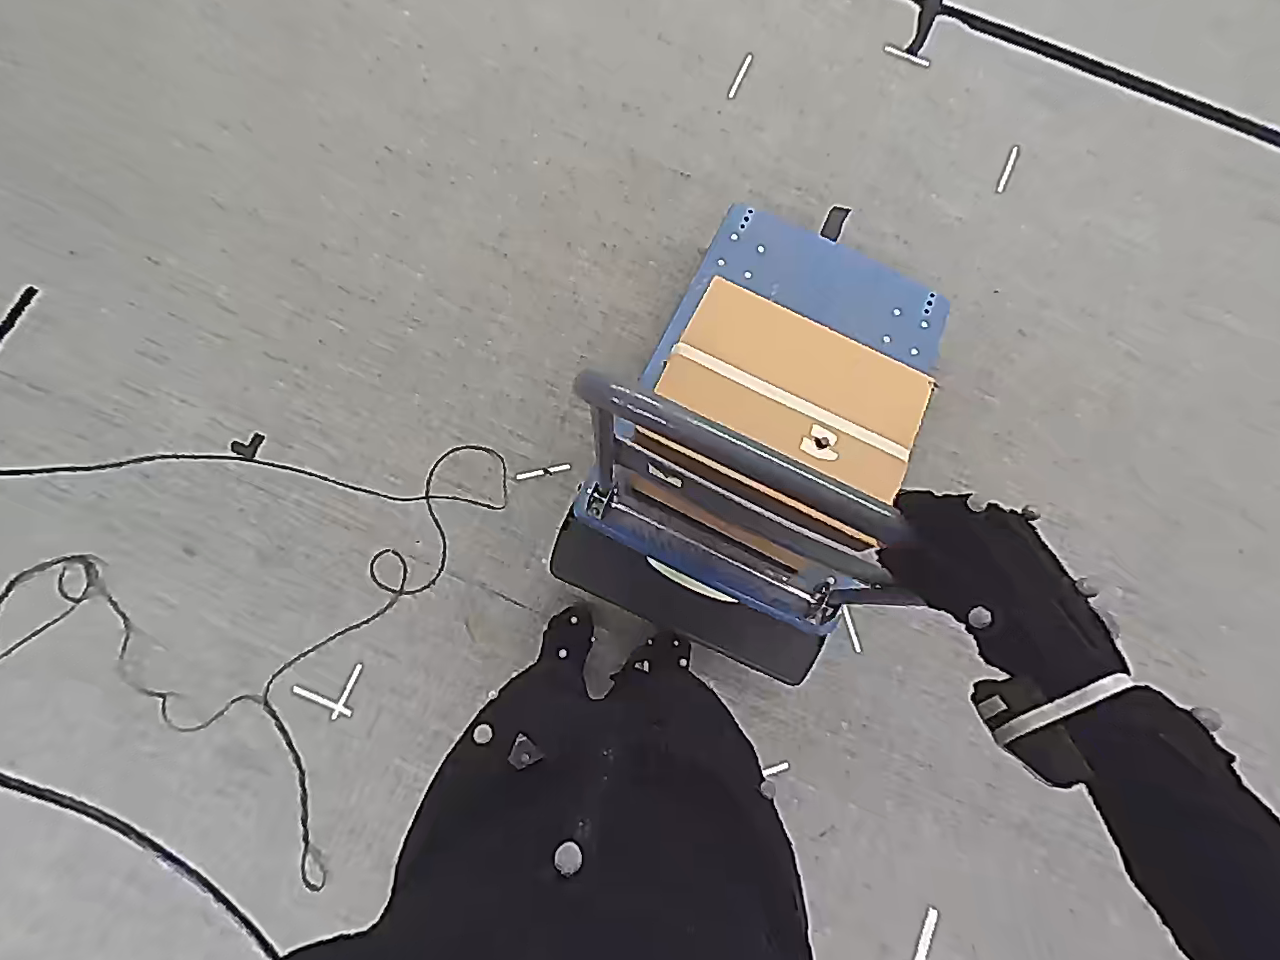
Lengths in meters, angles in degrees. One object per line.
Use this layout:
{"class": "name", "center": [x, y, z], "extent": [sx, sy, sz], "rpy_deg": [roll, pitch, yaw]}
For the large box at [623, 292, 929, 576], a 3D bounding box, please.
{"class": "large box", "center": [0.217, -0.060, 0.989], "extent": [0.408, 0.320, 0.320], "rpy_deg": [27, 74, 2]}
